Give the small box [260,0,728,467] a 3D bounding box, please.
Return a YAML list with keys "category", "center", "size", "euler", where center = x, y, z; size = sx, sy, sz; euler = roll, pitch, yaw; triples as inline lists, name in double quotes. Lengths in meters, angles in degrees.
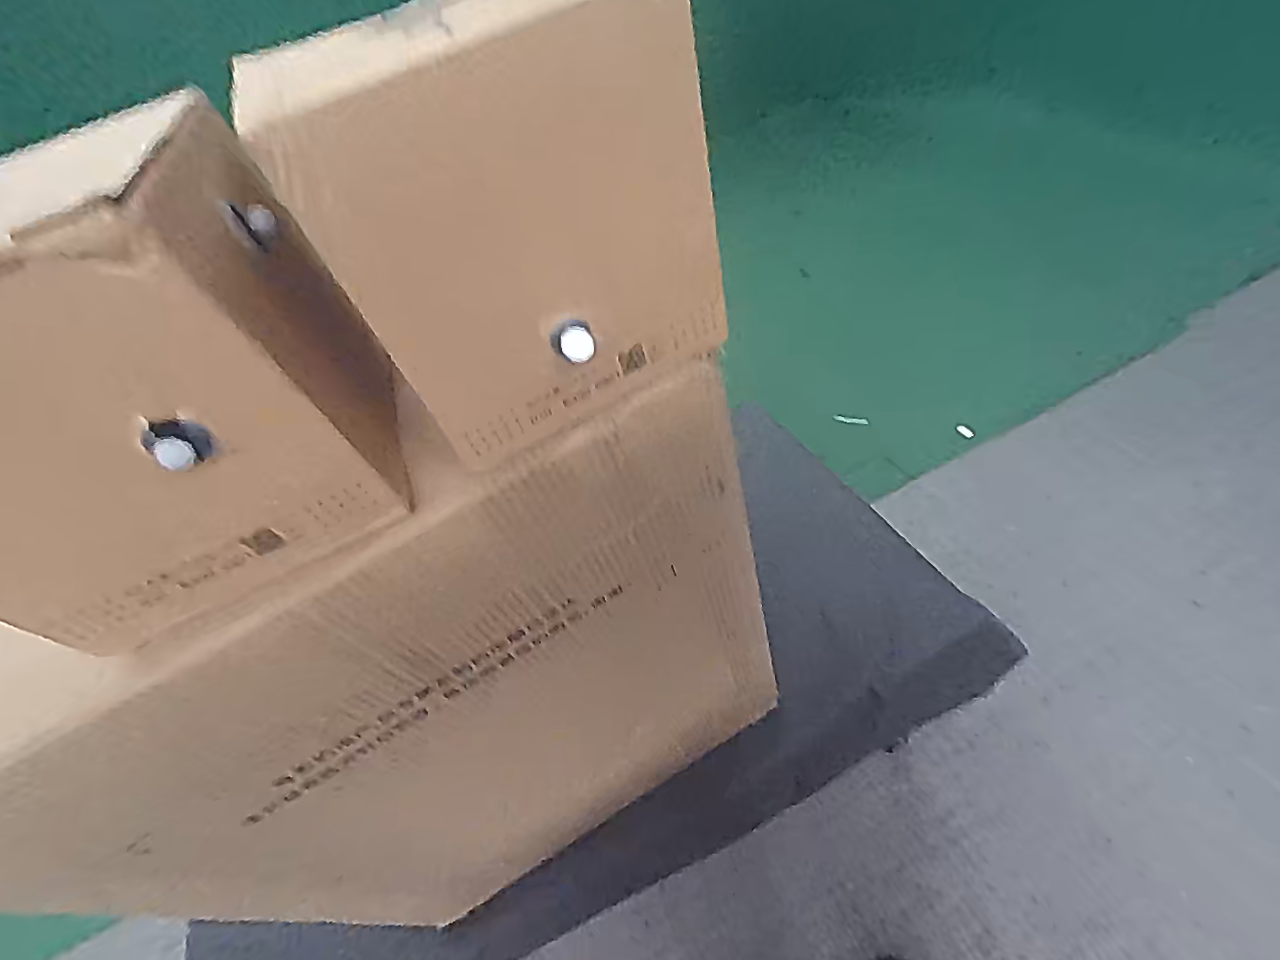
- category: "small box"
  center: [-0.069, -0.140, 0.298]
  size: [0.168, 0.176, 0.179]
  euler: [-29, 50, -9]
